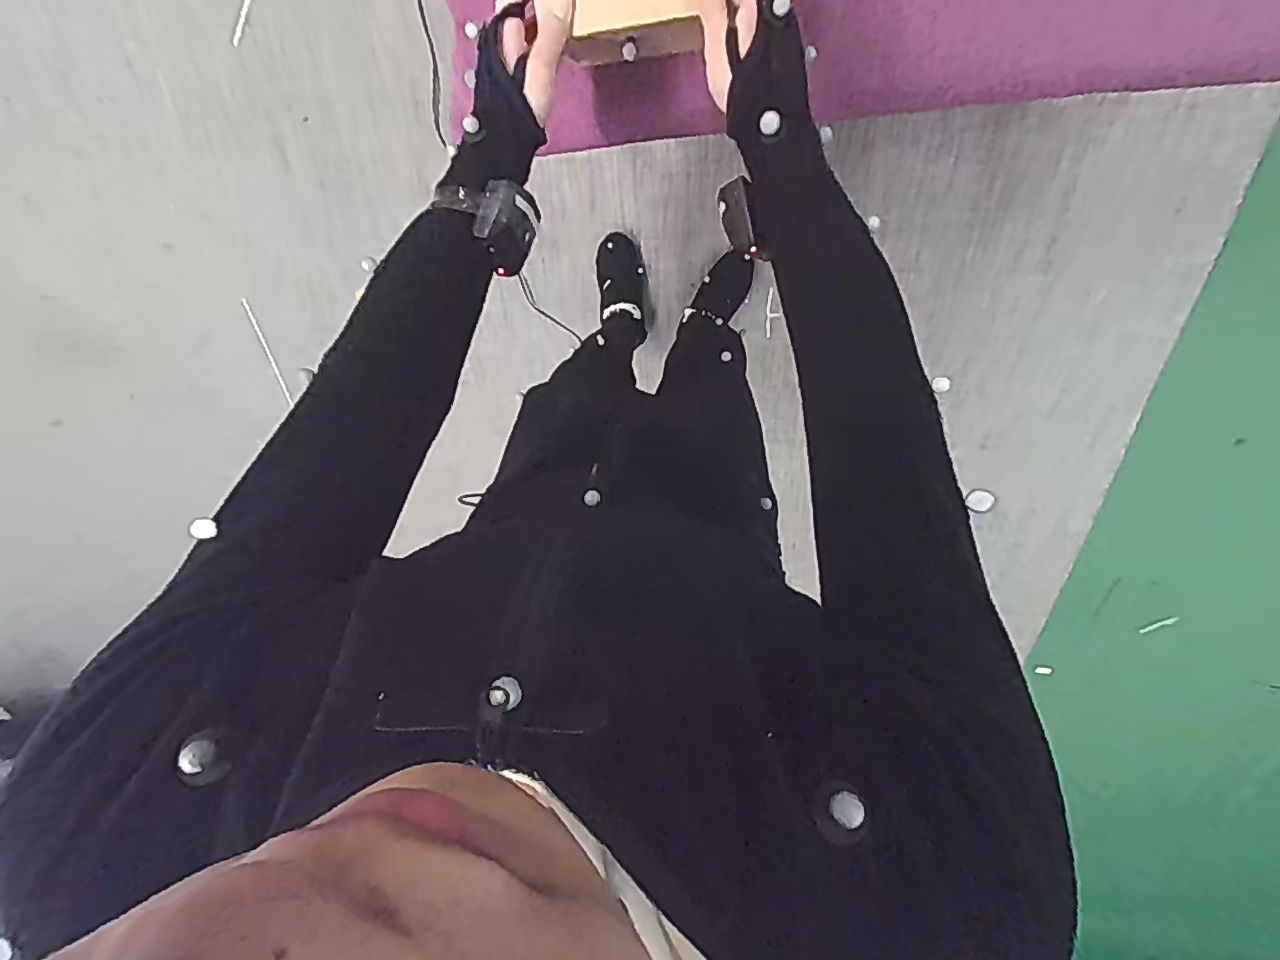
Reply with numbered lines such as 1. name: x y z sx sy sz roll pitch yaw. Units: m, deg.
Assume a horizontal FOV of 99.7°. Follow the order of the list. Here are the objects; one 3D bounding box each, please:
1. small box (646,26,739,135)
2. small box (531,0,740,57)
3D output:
1. small box: 0.112 -0.829 1.110 0.168 0.176 0.179 -7 120 12
2. small box: -0.001 -0.493 0.473 0.179 0.176 0.168 -2 121 9
